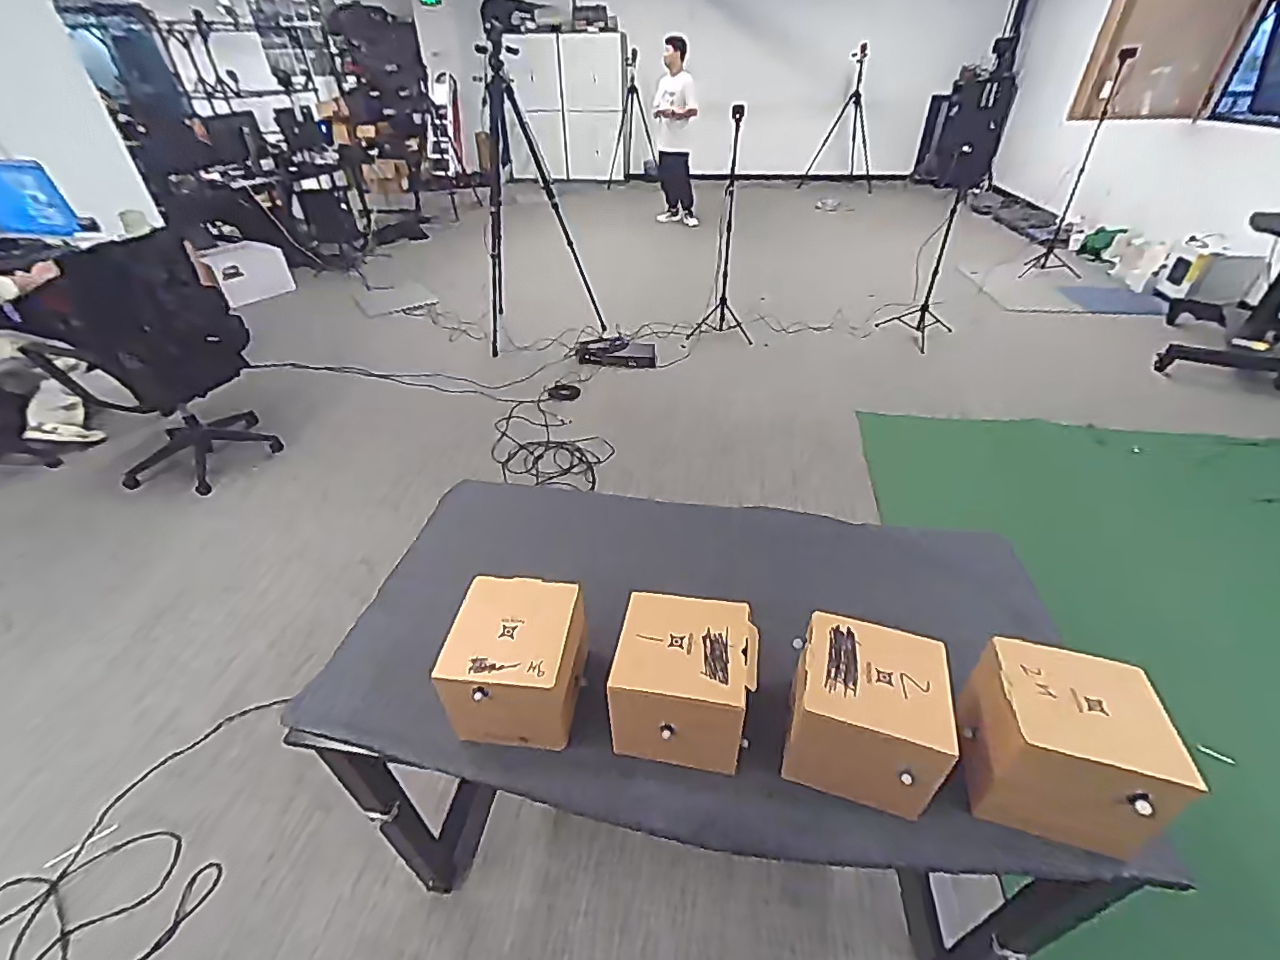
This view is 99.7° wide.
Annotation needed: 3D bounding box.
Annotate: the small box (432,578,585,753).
[{"bbox_3d":[-0.179,0.273,0.805,0.168,0.176,0.179,3,37,7],"label":"small box"}]
